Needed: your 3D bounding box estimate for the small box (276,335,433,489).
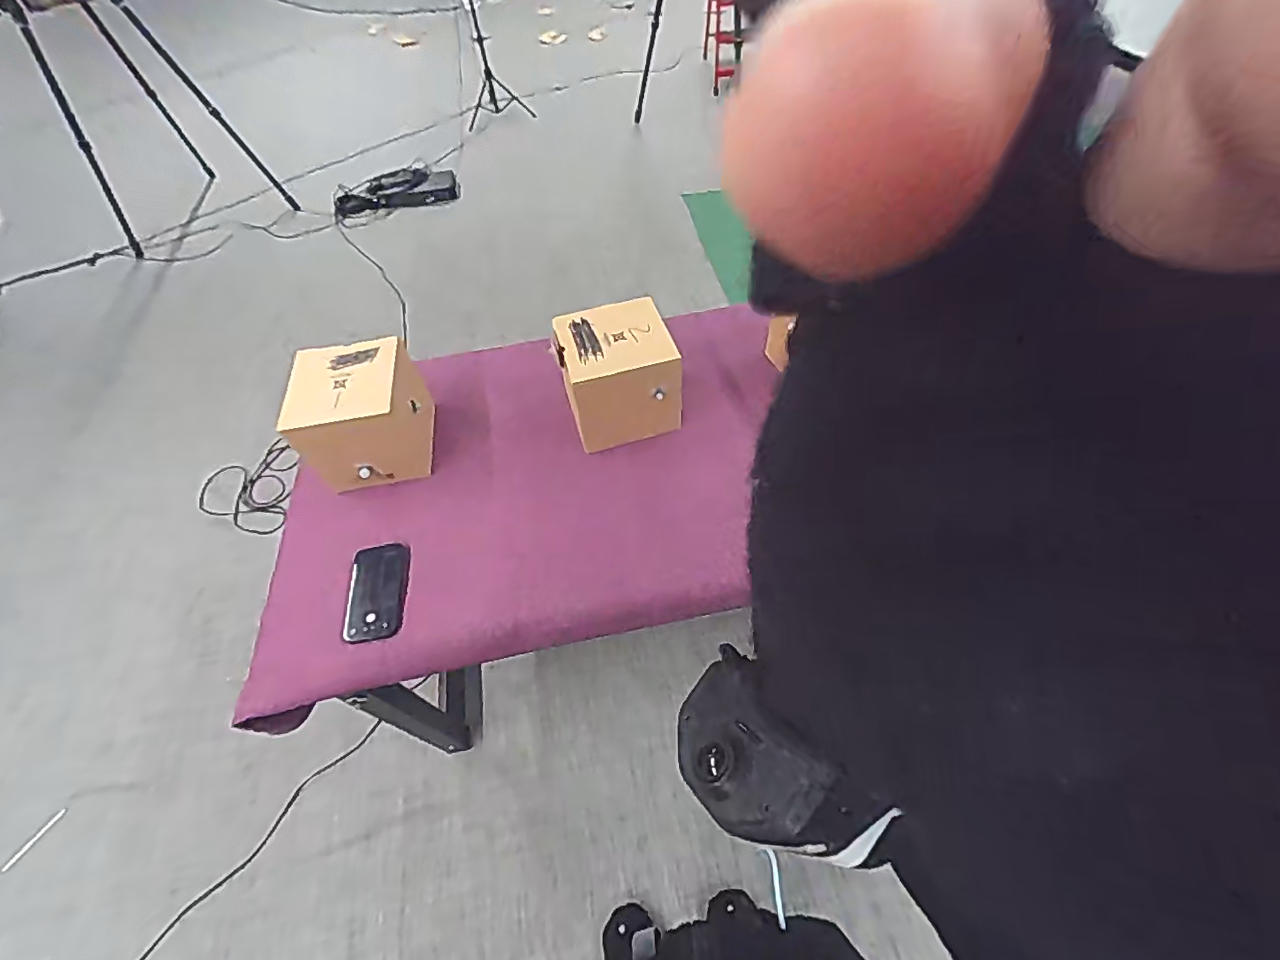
[{"bbox_3d":[-0.455,-0.110,0.896,0.168,0.176,0.179,-10,56,-3],"label":"small box"}]
